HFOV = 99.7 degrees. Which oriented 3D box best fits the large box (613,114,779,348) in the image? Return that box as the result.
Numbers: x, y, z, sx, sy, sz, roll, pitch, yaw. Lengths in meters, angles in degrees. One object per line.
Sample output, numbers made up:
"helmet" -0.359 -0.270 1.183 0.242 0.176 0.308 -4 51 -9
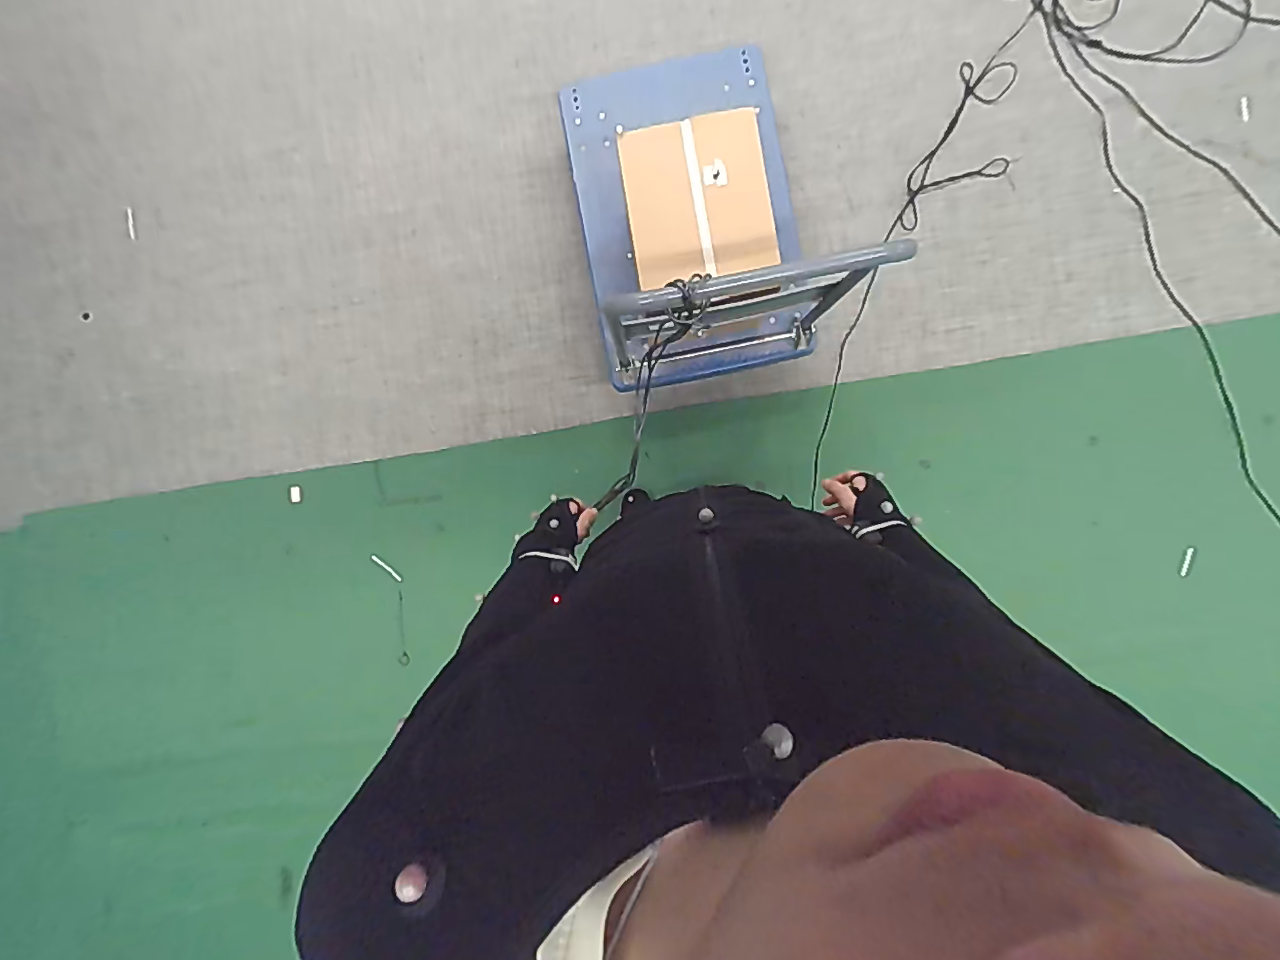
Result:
"large box" 0.130 -0.588 1.348 0.320 0.320 0.408 -9 87 2
